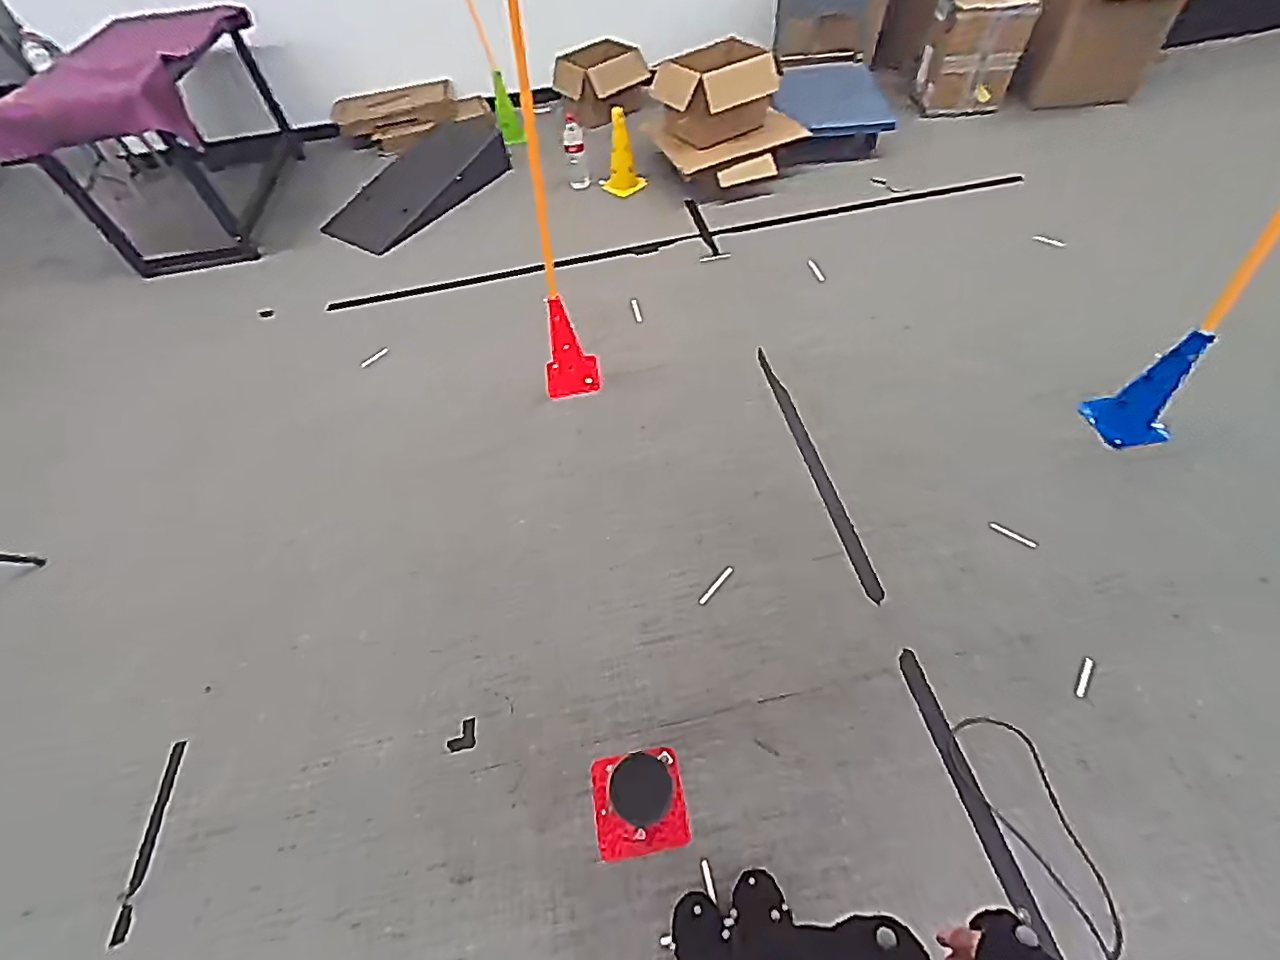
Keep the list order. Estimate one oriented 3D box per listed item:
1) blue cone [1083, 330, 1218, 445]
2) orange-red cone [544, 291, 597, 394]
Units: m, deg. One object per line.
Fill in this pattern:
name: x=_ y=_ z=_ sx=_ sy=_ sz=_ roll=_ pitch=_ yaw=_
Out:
blue cone: x=1.536 y=-0.290 z=1.597 sx=0.193 sy=0.380 sz=0.192 roll=-9 pitch=55 yaw=-1
orange-red cone: x=-0.275 y=-0.500 z=1.894 sx=0.198 sy=0.360 sz=0.199 roll=-9 pitch=53 yaw=-1
